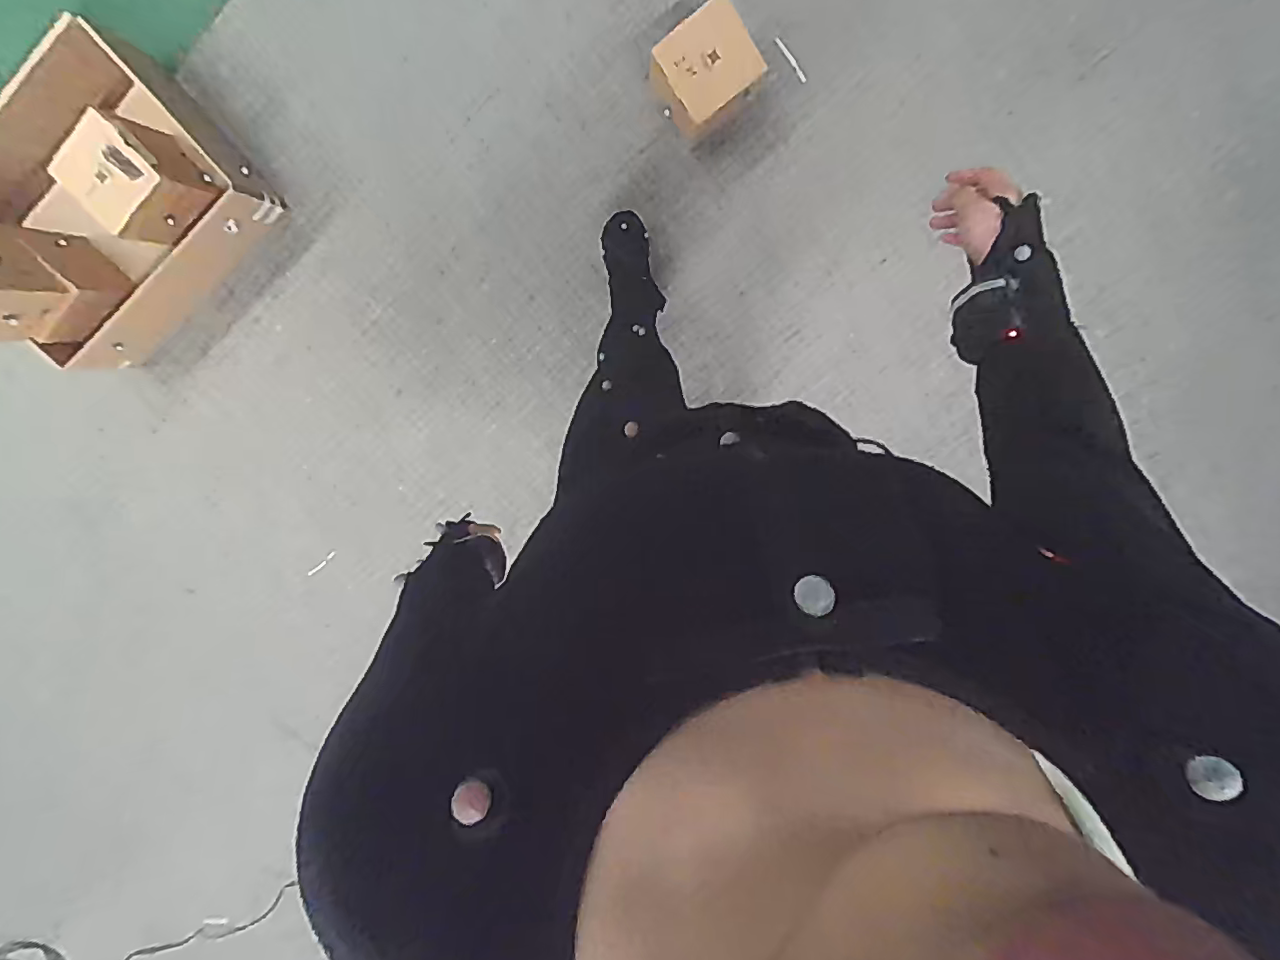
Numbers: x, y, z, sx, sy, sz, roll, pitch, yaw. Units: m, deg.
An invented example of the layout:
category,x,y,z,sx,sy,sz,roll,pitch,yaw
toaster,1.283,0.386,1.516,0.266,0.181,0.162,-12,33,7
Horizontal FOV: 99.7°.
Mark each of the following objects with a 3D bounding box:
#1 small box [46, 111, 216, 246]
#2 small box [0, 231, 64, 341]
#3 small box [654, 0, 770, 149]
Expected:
category,x,y,z,sx,sy,sz,roll,pitch,yaw
small box,-1.063,-0.627,1.150,0.179,0.176,0.168,-38,104,12
small box,-1.312,-0.381,1.053,0.168,0.176,0.179,-36,104,10
small box,0.142,-0.846,1.139,0.179,0.176,0.168,-34,103,10
